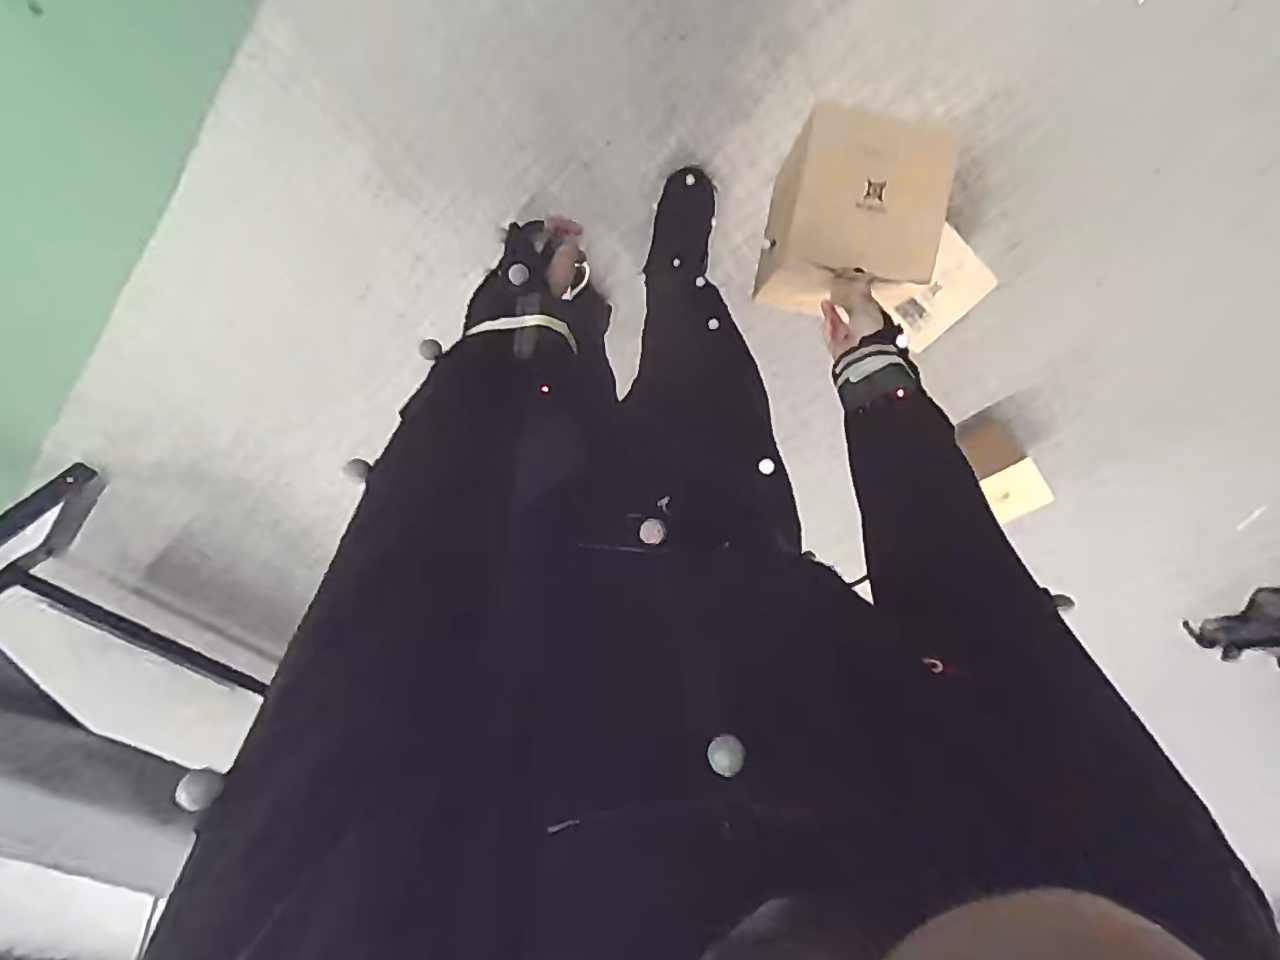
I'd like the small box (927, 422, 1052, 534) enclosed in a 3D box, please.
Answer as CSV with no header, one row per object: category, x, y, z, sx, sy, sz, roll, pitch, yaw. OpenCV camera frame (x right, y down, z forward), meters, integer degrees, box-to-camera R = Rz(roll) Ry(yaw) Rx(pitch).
small box,0.840,-0.008,1.314,0.179,0.176,0.168,-34,119,27
